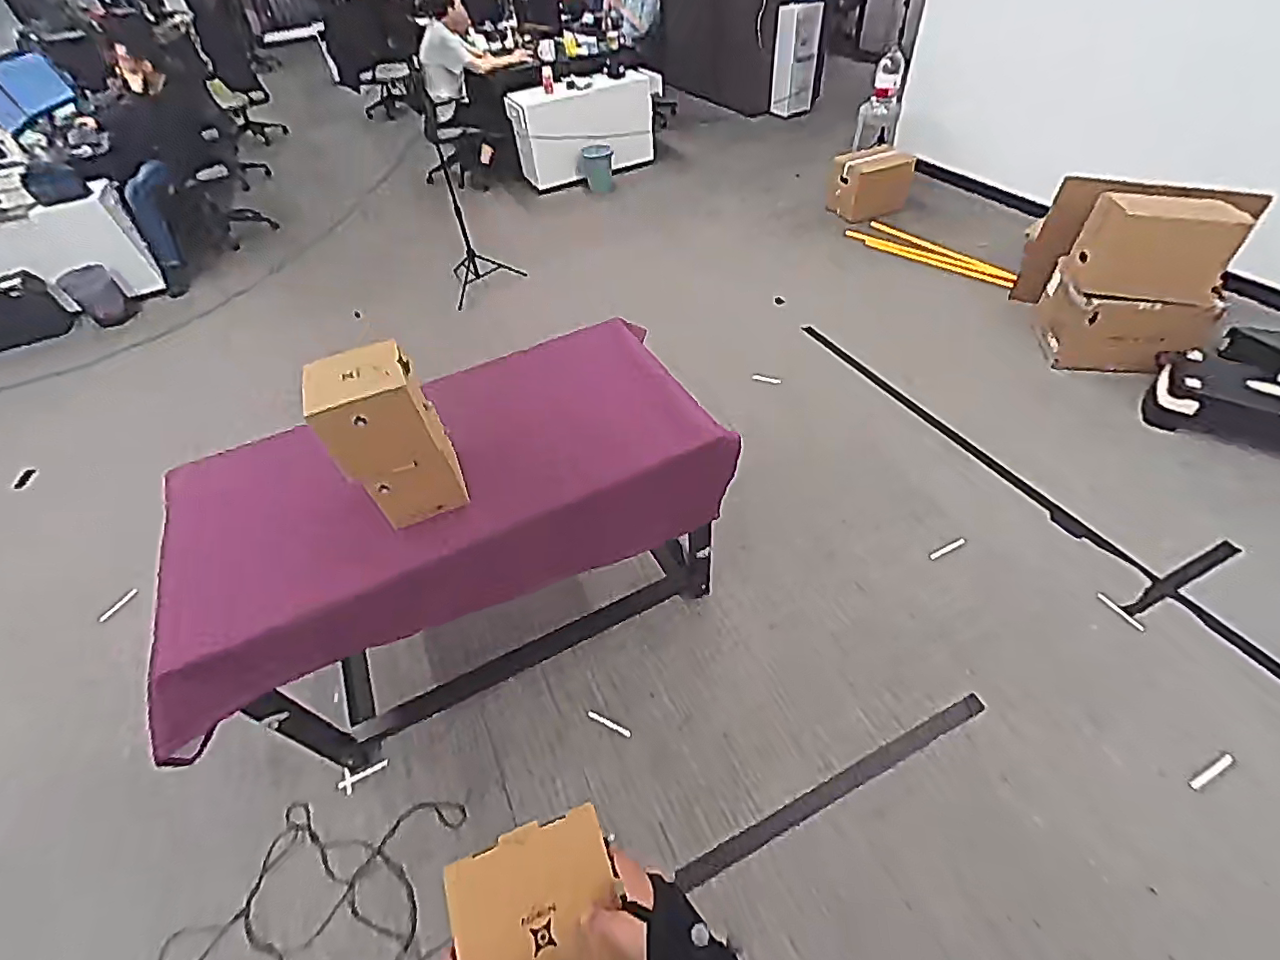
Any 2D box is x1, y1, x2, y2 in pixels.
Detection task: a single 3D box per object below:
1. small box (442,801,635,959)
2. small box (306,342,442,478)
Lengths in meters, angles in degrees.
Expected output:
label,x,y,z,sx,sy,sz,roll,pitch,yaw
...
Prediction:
label,x,y,z,sx,sy,sz,roll,pitch,yaw
small box,-0.106,0.489,0.606,0.168,0.176,0.179,-16,57,-14
small box,-0.503,-0.131,1.033,0.179,0.176,0.168,-20,49,-12
